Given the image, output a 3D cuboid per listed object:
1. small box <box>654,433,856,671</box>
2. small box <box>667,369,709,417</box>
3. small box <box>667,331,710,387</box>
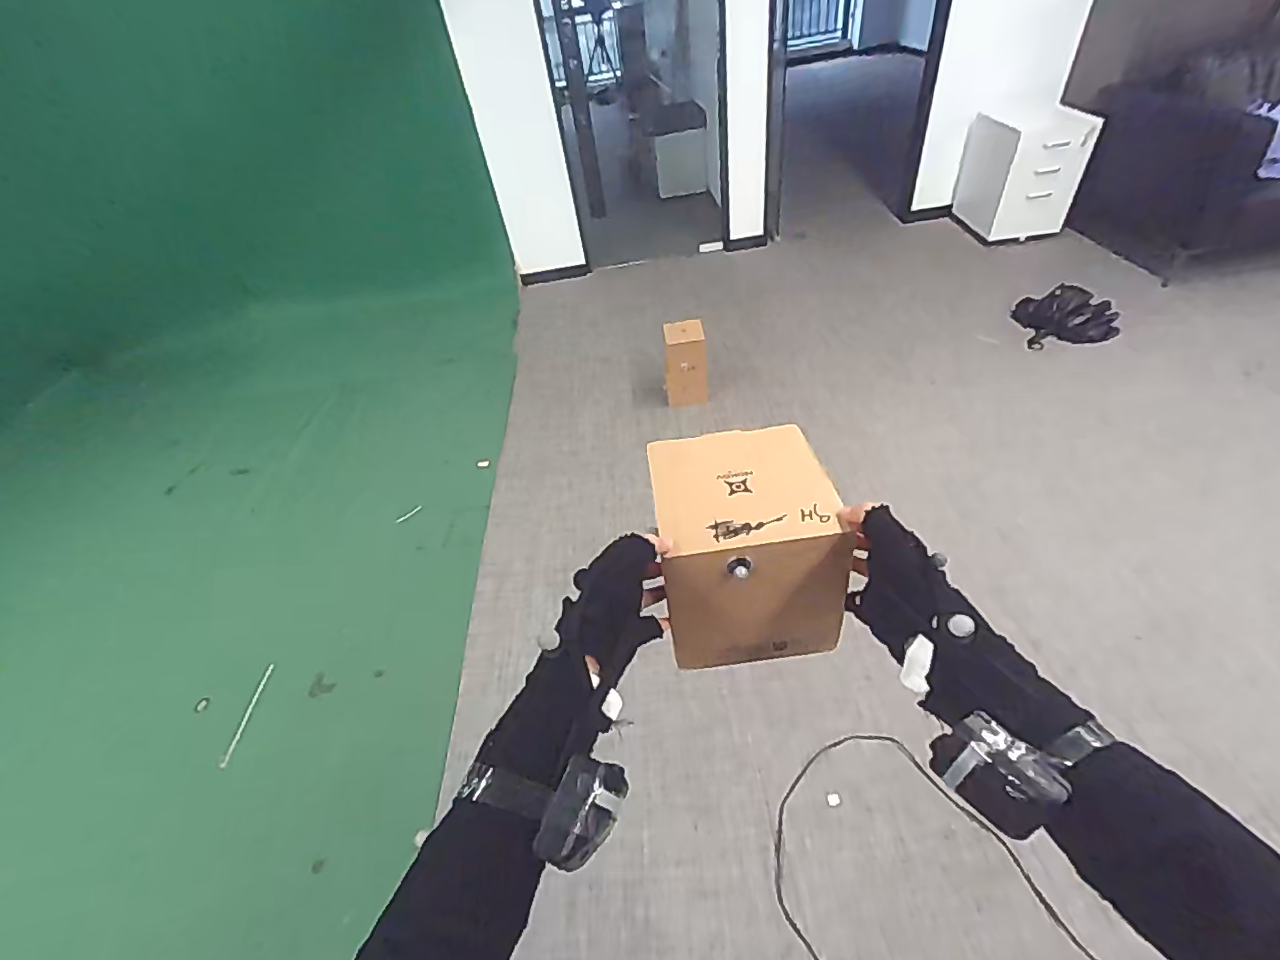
[{"bbox_3d":[0.108,0.073,0.574,0.168,0.176,0.179,-8,35,2],"label":"small box"},{"bbox_3d":[0.224,-0.409,2.494,0.179,0.176,0.168,-8,42,5],"label":"small box"},{"bbox_3d":[0.215,-0.534,2.392,0.168,0.176,0.179,-9,43,4],"label":"small box"}]
